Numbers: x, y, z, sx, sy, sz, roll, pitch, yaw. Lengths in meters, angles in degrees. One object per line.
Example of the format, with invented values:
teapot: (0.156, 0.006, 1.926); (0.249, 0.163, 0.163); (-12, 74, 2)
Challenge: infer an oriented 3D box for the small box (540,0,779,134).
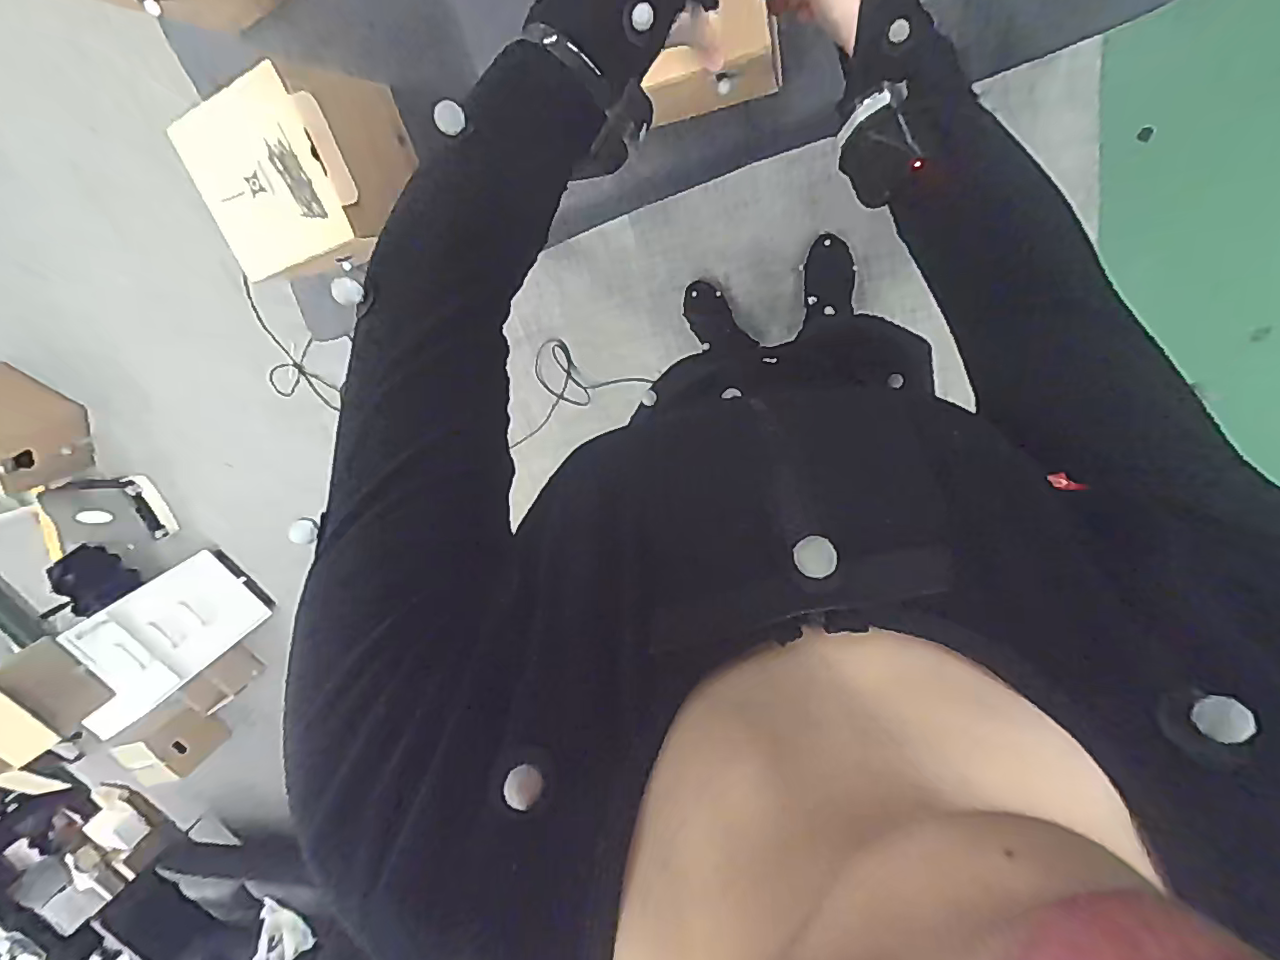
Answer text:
small box: (0.022, -0.429, 0.479); (0.179, 0.176, 0.168); (-5, 115, 19)

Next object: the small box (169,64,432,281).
small box: (-0.378, -0.353, 0.642); (0.179, 0.176, 0.168); (-9, 114, 22)
